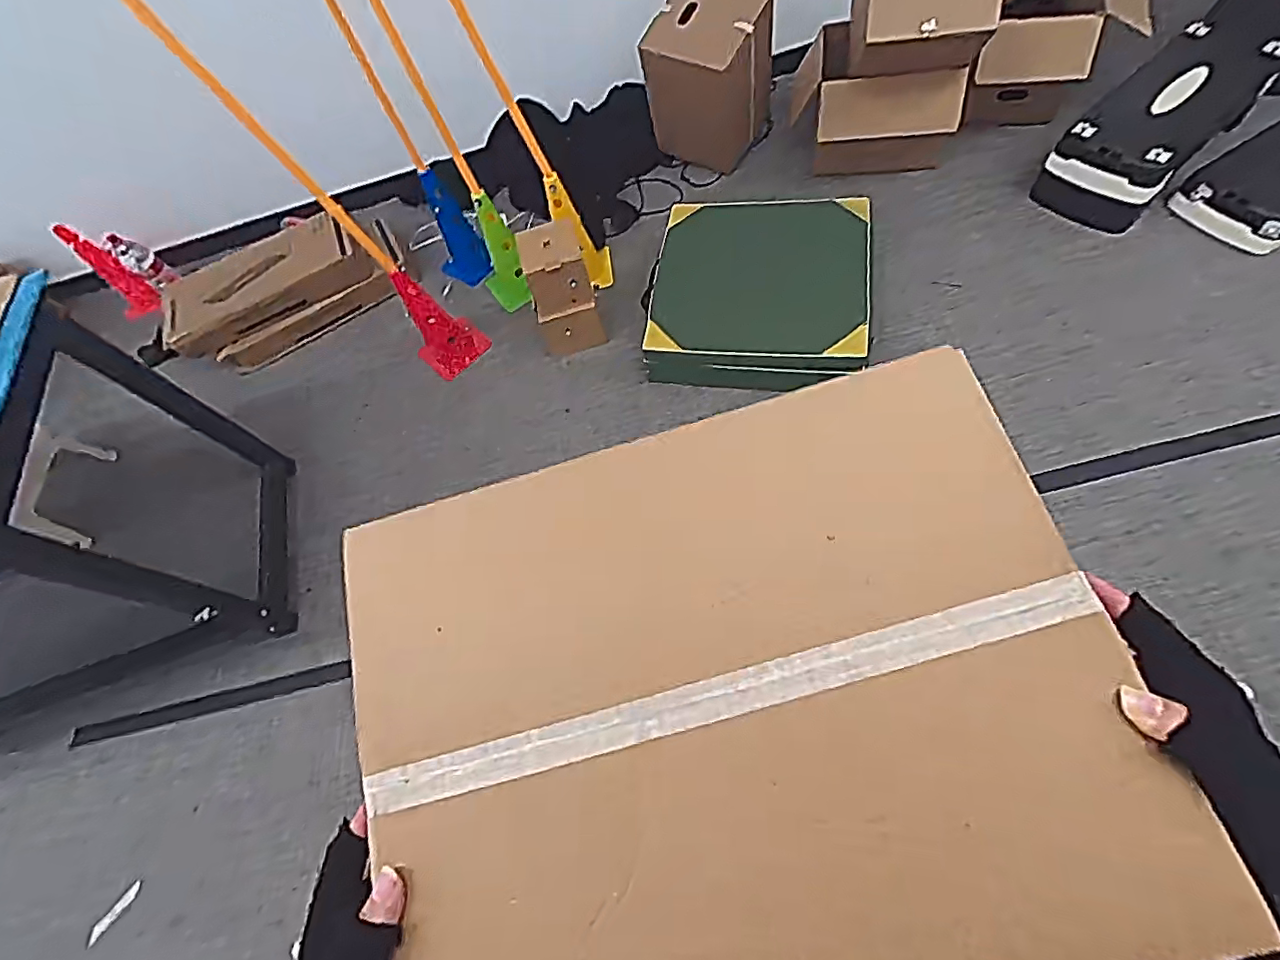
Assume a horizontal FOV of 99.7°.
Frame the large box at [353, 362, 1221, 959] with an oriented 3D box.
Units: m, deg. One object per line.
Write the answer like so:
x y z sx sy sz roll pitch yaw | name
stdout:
0.061 0.165 0.442 0.408 0.320 0.320 -18 70 3 | large box
